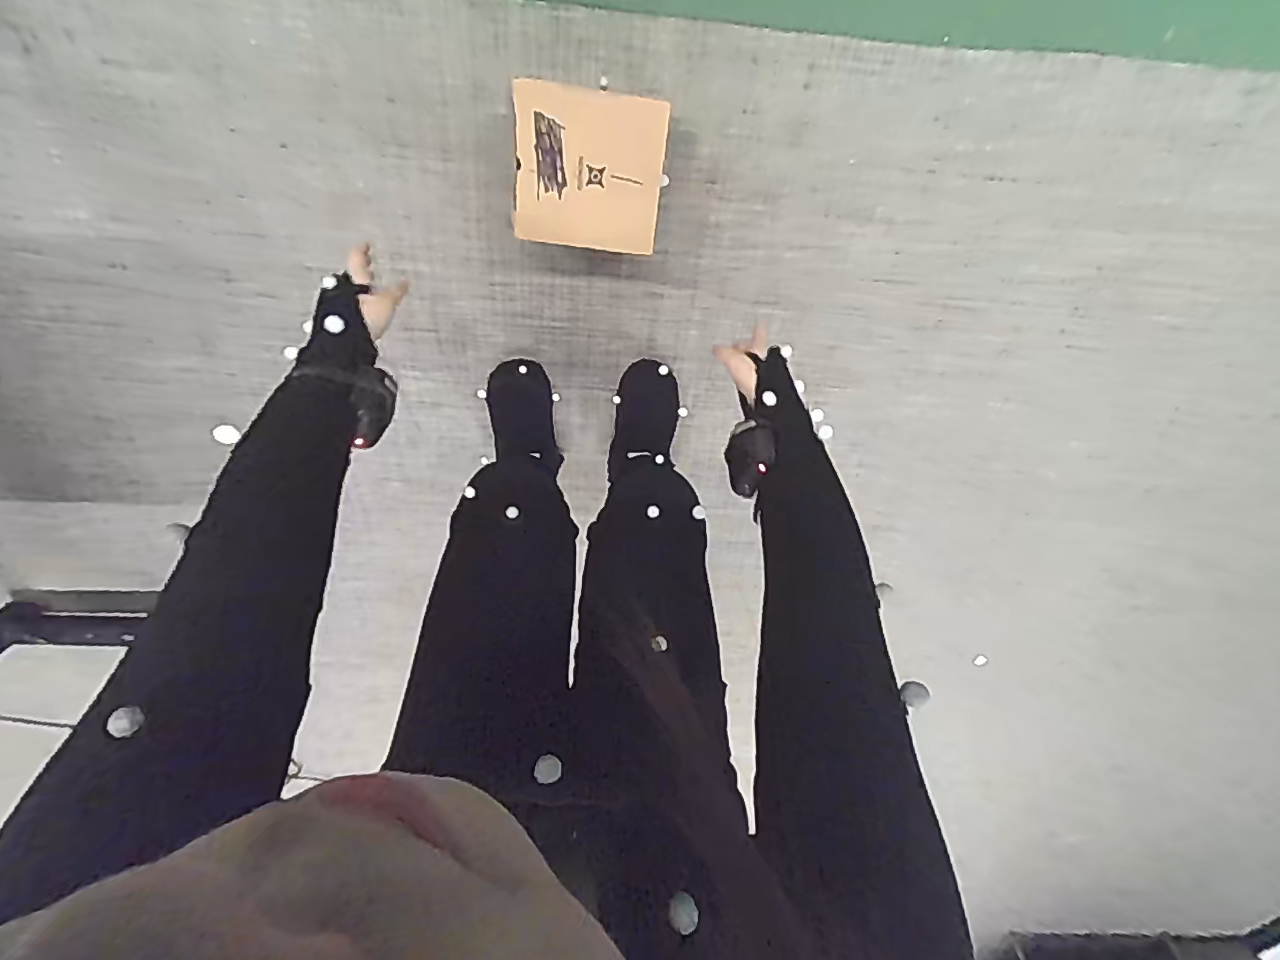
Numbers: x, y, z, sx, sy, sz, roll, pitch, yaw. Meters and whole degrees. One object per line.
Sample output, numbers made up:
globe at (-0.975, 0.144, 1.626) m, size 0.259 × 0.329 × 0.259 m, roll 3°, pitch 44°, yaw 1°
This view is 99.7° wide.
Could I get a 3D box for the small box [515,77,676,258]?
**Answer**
small box at (-0.059, -0.398, 0.693) m, size 0.179 × 0.176 × 0.168 m, roll 5°, pitch 124°, yaw -6°
